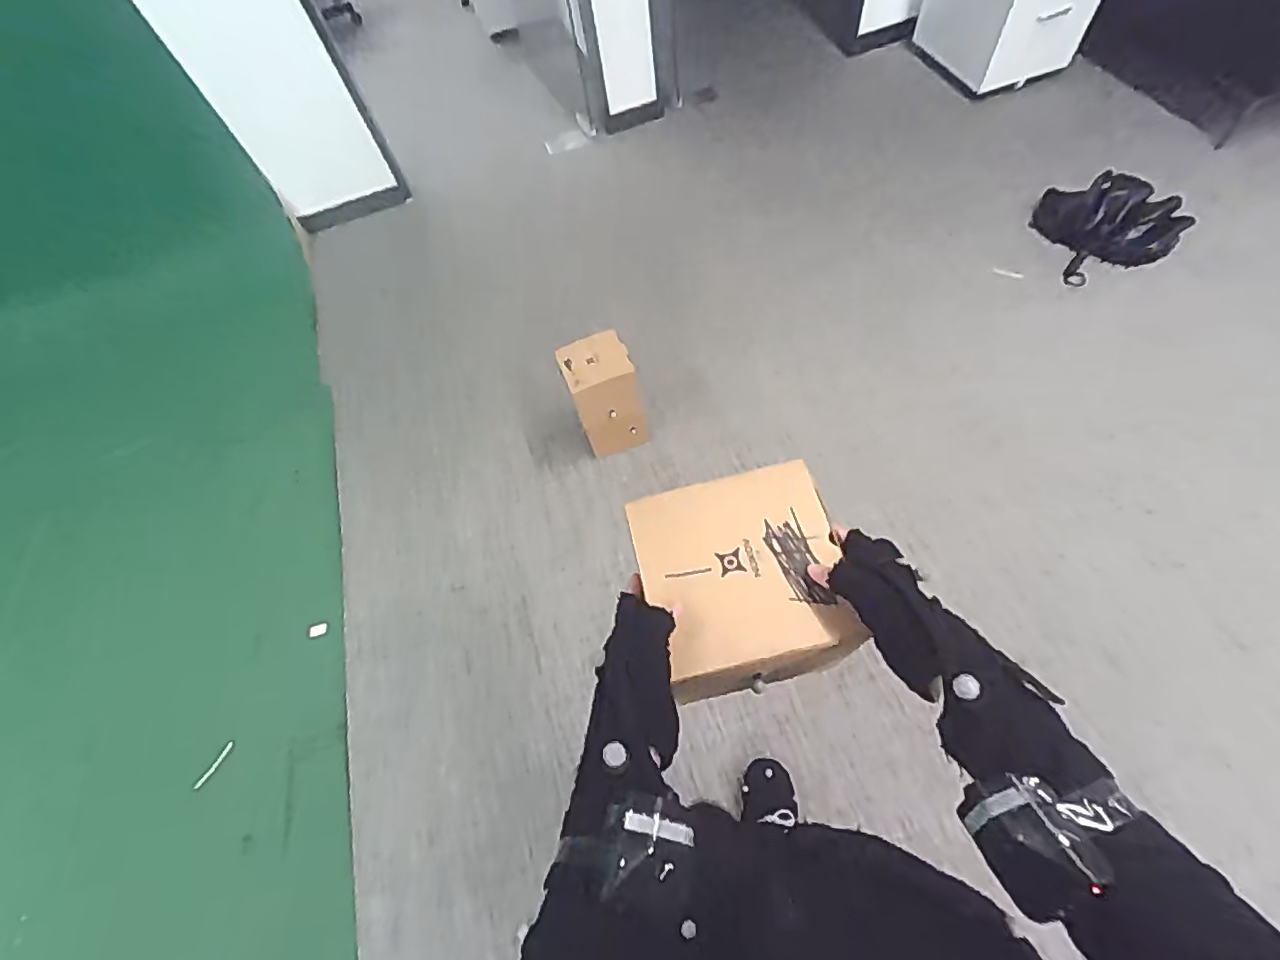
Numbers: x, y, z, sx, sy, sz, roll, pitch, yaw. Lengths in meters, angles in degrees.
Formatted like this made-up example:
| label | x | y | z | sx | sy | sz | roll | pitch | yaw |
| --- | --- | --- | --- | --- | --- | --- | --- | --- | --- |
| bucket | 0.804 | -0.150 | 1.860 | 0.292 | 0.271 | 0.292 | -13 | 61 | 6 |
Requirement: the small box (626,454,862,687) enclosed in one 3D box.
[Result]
| label | x | y | z | sx | sy | sz | roll | pitch | yaw |
| --- | --- | --- | --- | --- | --- | --- | --- | --- | --- |
| small box | 0.090 | 0.098 | 0.541 | 0.179 | 0.176 | 0.168 | -11 | 60 | 1 |

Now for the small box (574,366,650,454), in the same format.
| label | x | y | z | sx | sy | sz | roll | pitch | yaw |
| --- | --- | --- | --- | --- | --- | --- | --- | --- | --- |
| small box | -0.077 | -0.205 | 1.622 | 0.179 | 0.176 | 0.168 | -21 | 60 | -2 |
